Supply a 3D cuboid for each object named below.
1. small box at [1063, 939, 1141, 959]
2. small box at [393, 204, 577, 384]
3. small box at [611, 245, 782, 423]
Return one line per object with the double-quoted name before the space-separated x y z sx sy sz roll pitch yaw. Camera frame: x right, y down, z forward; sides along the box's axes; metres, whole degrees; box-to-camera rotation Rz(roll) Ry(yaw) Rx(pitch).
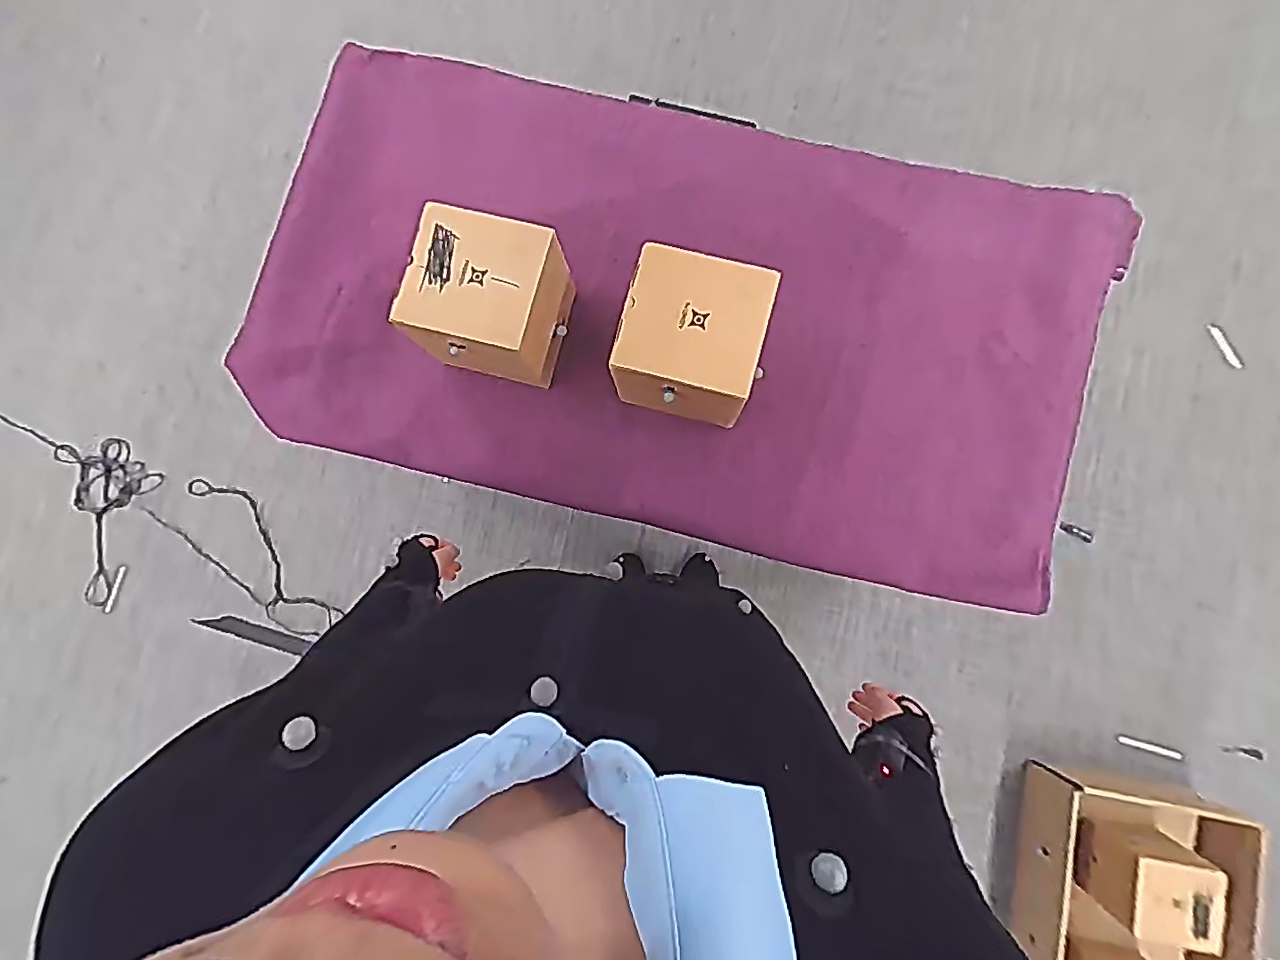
"small box" 1.075 1.176 1.200 0.179 0.176 0.168 11 85 4
"small box" -0.203 -0.248 0.759 0.179 0.176 0.168 15 85 4
"small box" 0.074 -0.185 0.737 0.179 0.176 0.168 15 85 6
